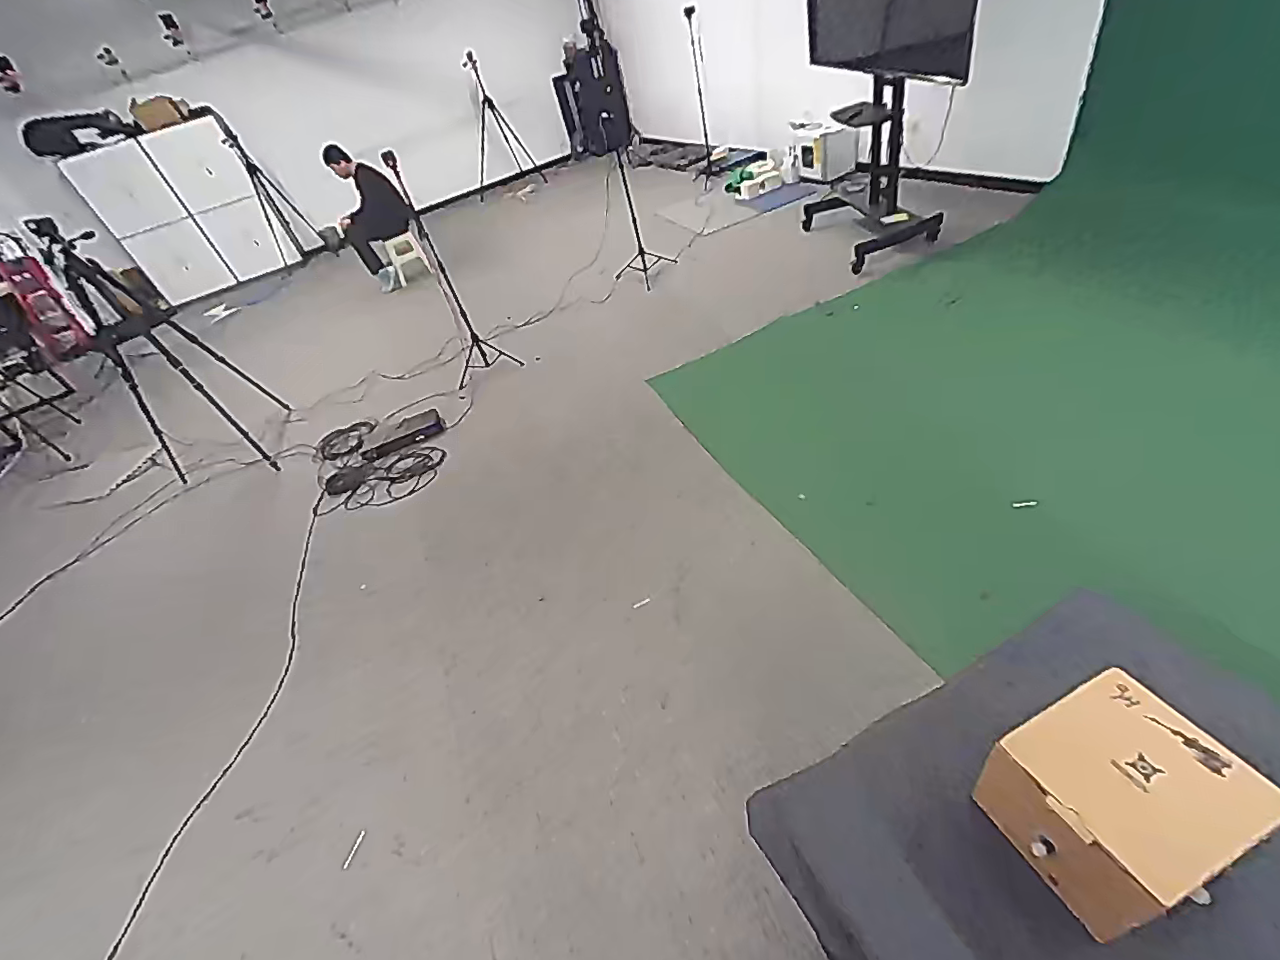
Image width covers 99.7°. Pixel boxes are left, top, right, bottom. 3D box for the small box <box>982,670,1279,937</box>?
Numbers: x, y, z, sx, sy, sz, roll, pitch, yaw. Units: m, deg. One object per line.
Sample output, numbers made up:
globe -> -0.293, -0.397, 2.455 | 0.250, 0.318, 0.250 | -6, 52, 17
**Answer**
small box -> 0.510, 0.353, 0.591 | 0.179, 0.176, 0.168 | -26, 41, -9
